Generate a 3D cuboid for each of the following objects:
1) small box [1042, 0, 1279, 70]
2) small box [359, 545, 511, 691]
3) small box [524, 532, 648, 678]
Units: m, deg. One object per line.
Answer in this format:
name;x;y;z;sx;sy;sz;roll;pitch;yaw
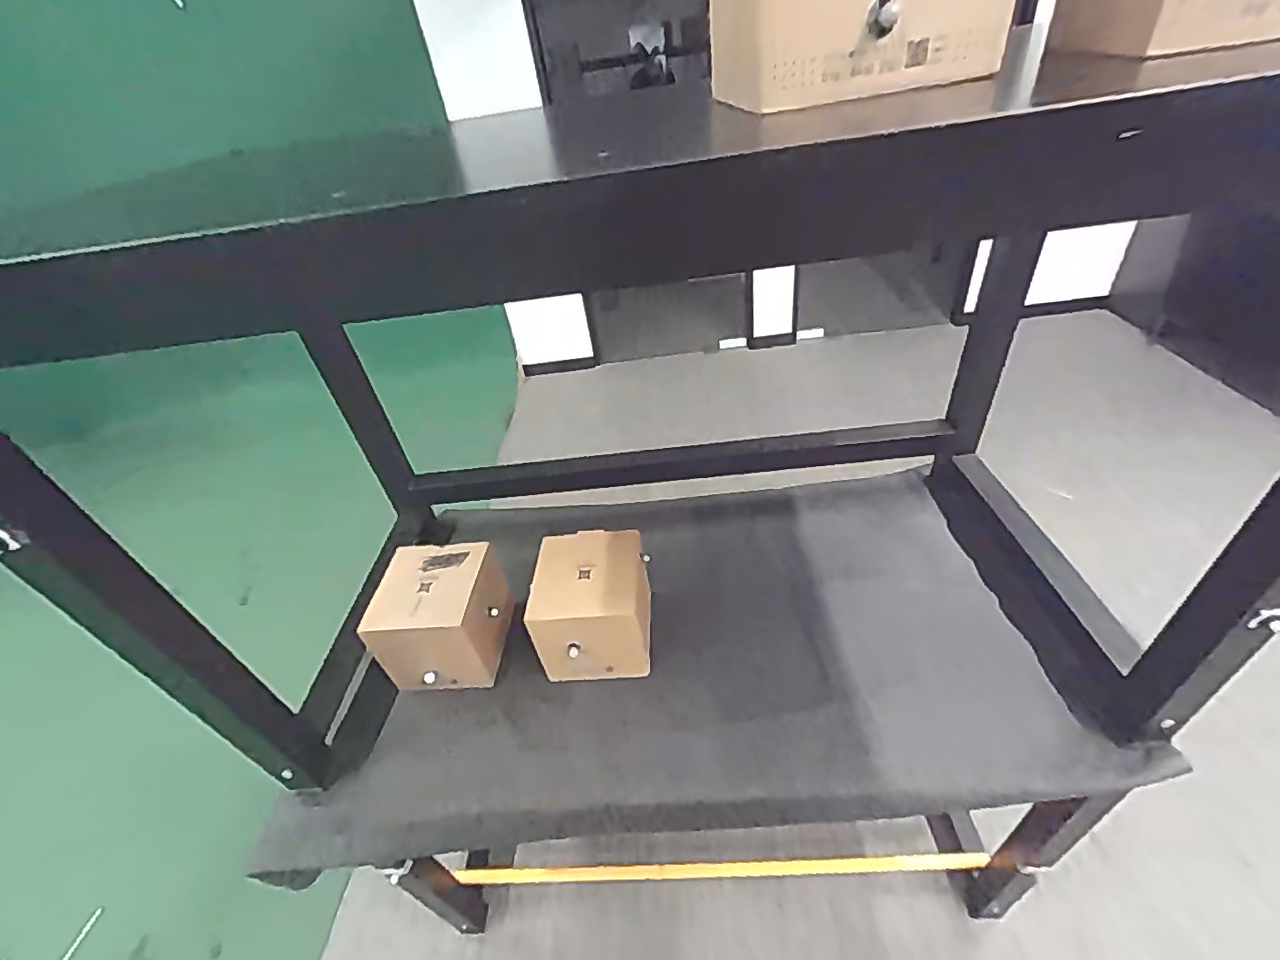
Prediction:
small box;0.389;-0.366;0.330;0.168;0.176;0.179;2;39;14
small box;-0.328;0.232;0.912;0.168;0.176;0.179;-5;39;6
small box;-0.077;0.210;0.891;0.168;0.176;0.179;-5;38;5
